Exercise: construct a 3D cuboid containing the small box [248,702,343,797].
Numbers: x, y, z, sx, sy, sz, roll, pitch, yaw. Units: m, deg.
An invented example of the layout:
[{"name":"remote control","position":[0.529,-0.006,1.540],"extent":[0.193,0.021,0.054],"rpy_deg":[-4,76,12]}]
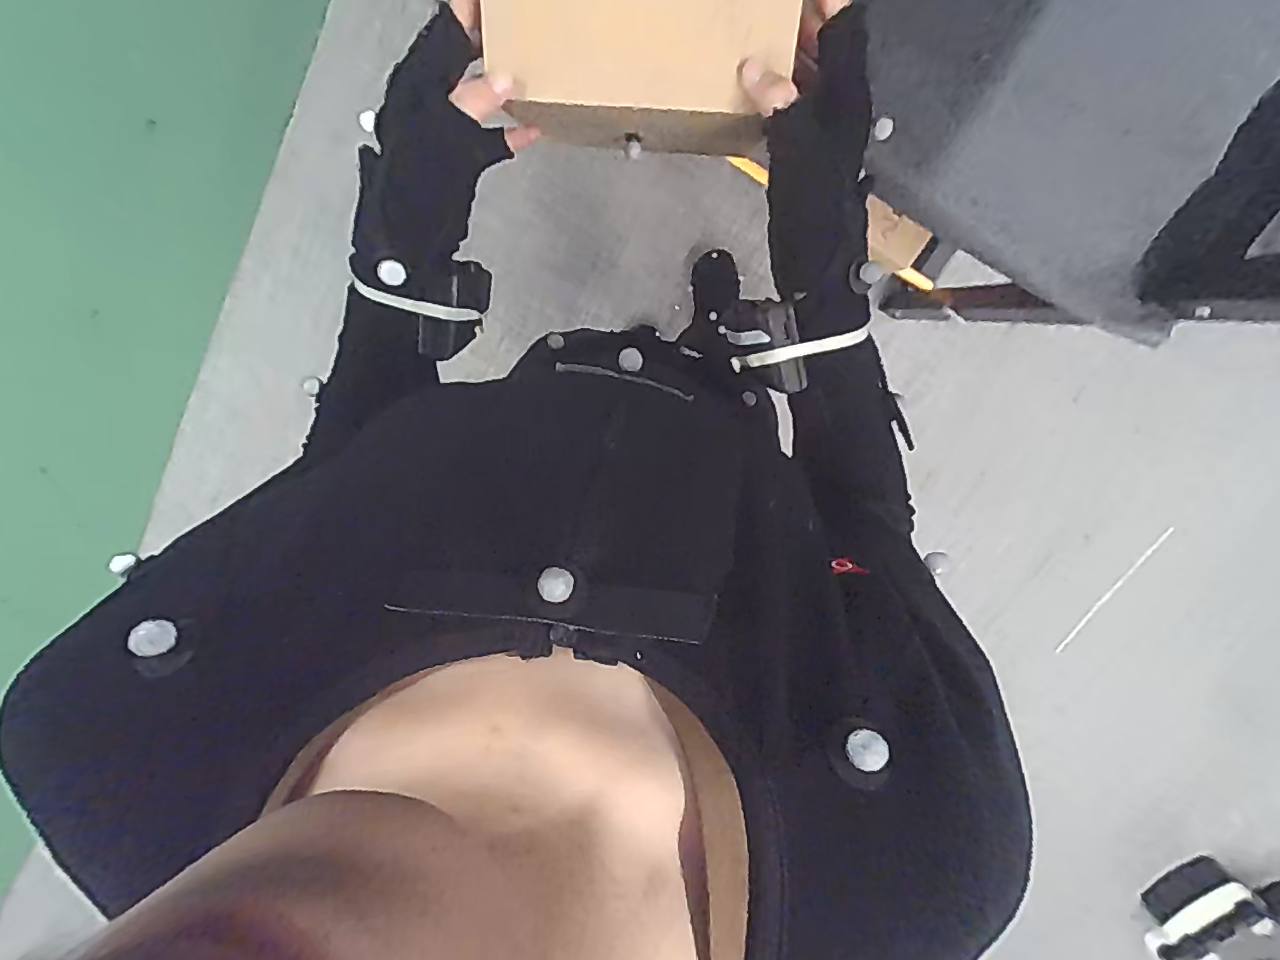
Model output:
[{"name":"small box","position":[-1.069,0.835,1.692],"extent":[0.168,0.176,0.179],"rpy_deg":[29,105,-7]}]
